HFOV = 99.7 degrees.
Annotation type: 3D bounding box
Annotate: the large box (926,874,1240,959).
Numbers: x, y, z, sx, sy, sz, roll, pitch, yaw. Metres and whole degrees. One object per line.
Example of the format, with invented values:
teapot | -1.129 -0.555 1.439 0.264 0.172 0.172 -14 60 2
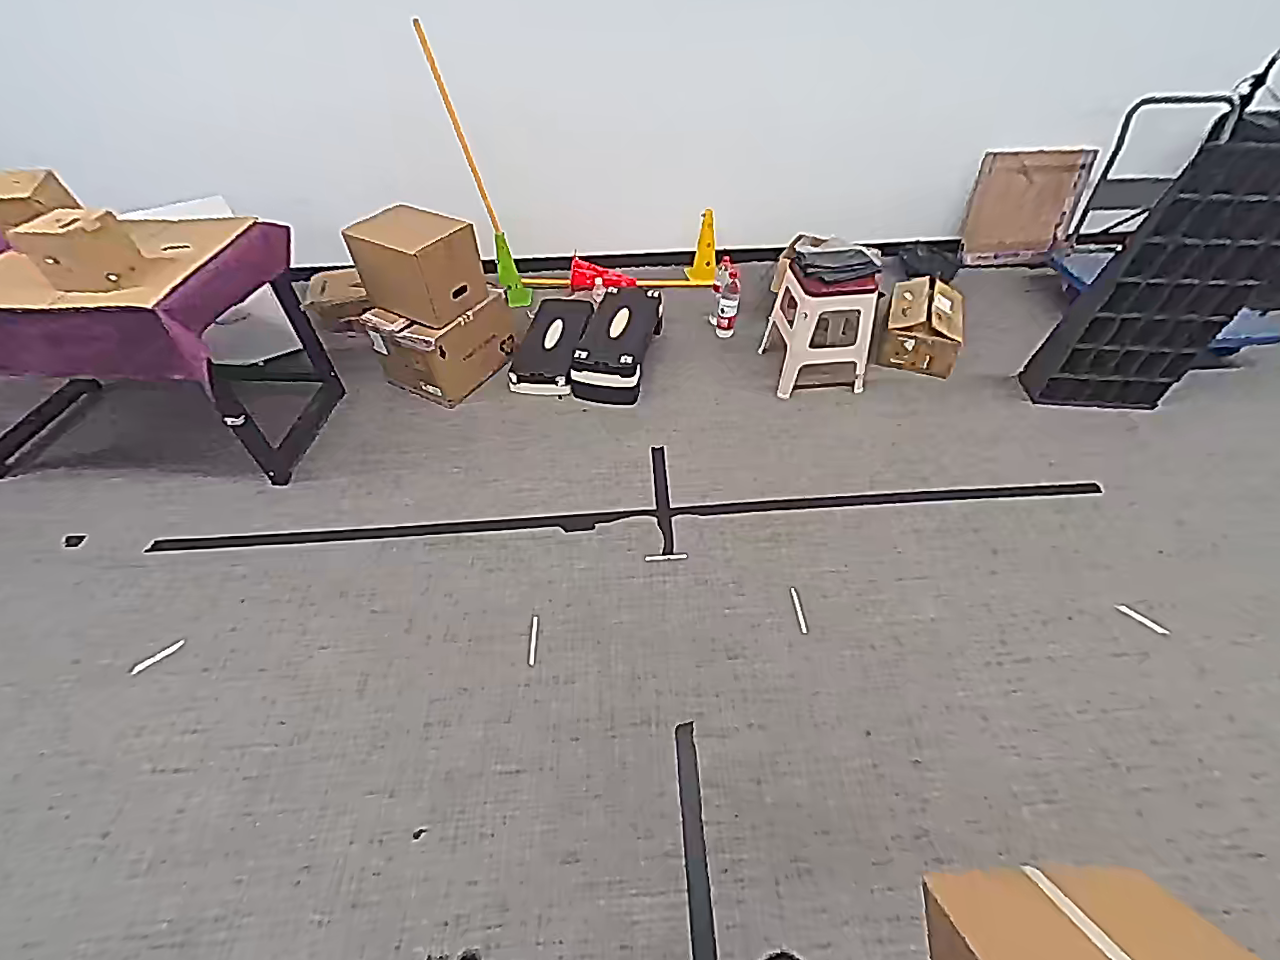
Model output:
large box | 0.572 0.727 0.595 0.320 0.408 0.320 -4 86 3
